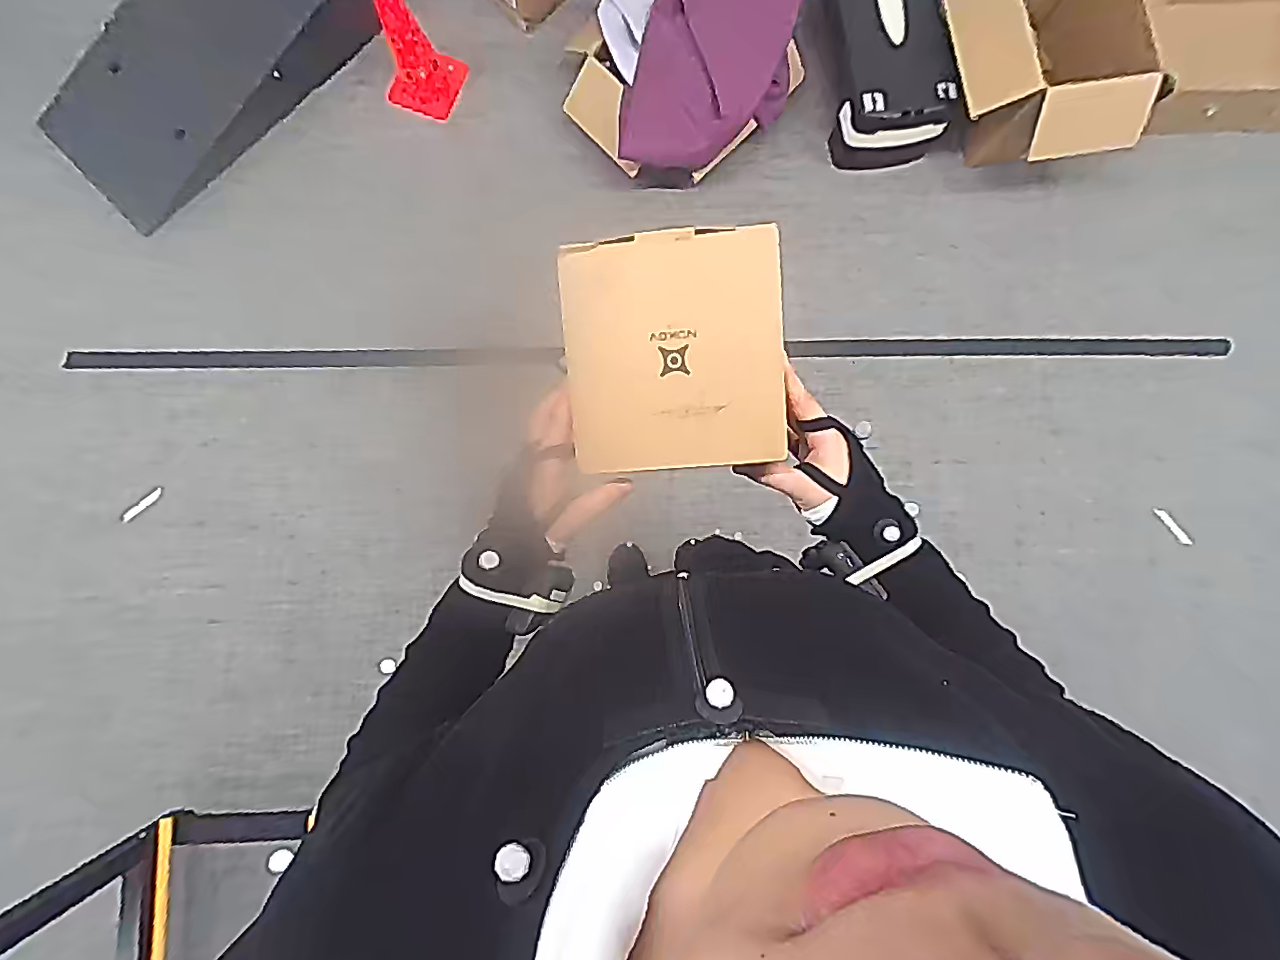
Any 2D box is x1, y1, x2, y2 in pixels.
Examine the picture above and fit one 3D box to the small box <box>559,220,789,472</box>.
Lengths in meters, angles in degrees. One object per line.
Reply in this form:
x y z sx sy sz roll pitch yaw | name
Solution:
0.032 -0.108 0.484 0.168 0.176 0.179 -5 99 5 | small box
